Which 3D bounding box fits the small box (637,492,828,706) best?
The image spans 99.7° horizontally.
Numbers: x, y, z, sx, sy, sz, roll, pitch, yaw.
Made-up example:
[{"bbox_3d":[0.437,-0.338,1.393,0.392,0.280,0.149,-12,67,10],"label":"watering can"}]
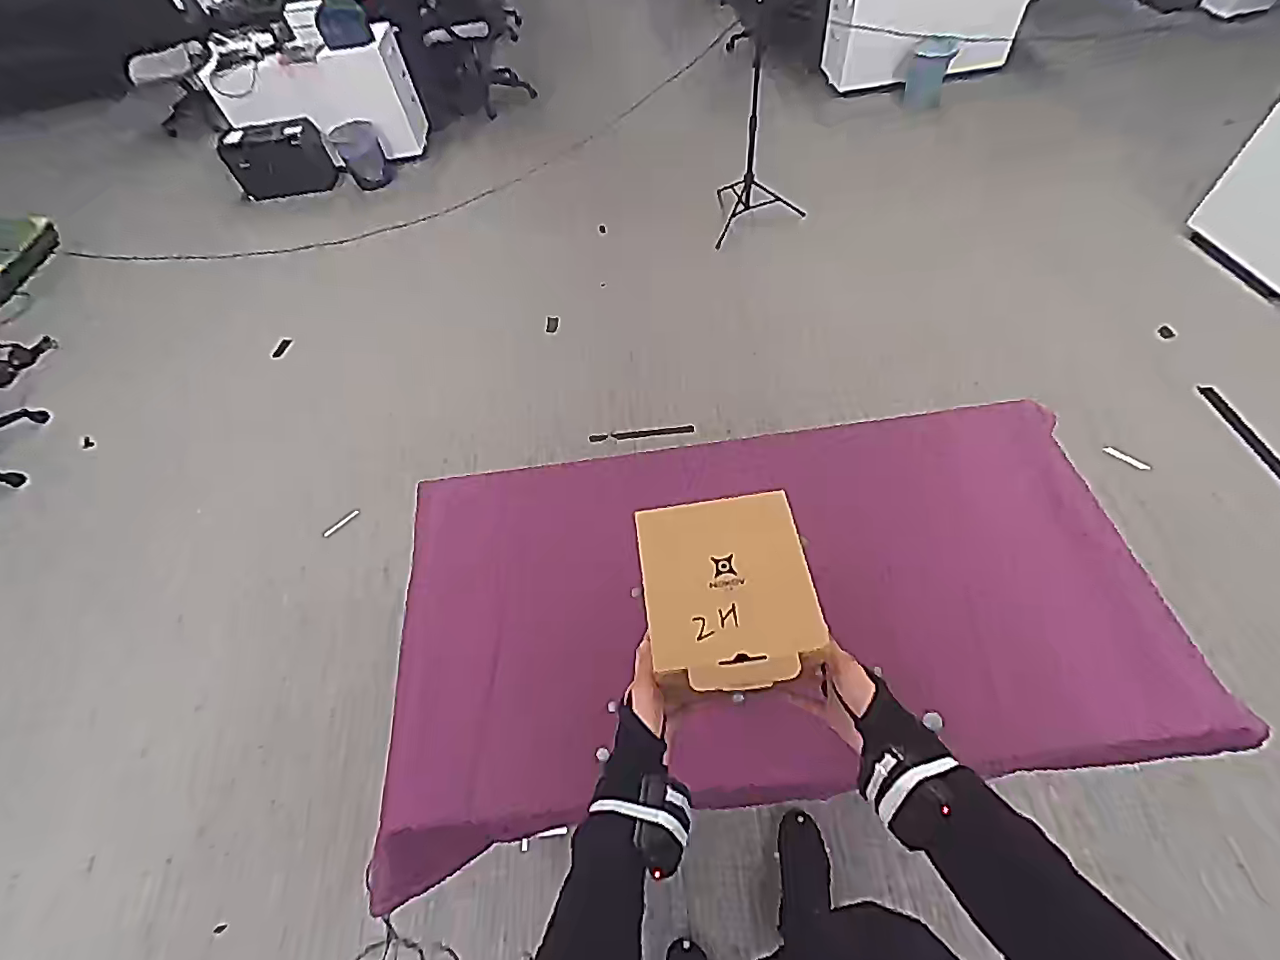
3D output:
[{"bbox_3d":[0.092,0.138,0.607,0.168,0.176,0.179,-9,57,2],"label":"small box"}]
